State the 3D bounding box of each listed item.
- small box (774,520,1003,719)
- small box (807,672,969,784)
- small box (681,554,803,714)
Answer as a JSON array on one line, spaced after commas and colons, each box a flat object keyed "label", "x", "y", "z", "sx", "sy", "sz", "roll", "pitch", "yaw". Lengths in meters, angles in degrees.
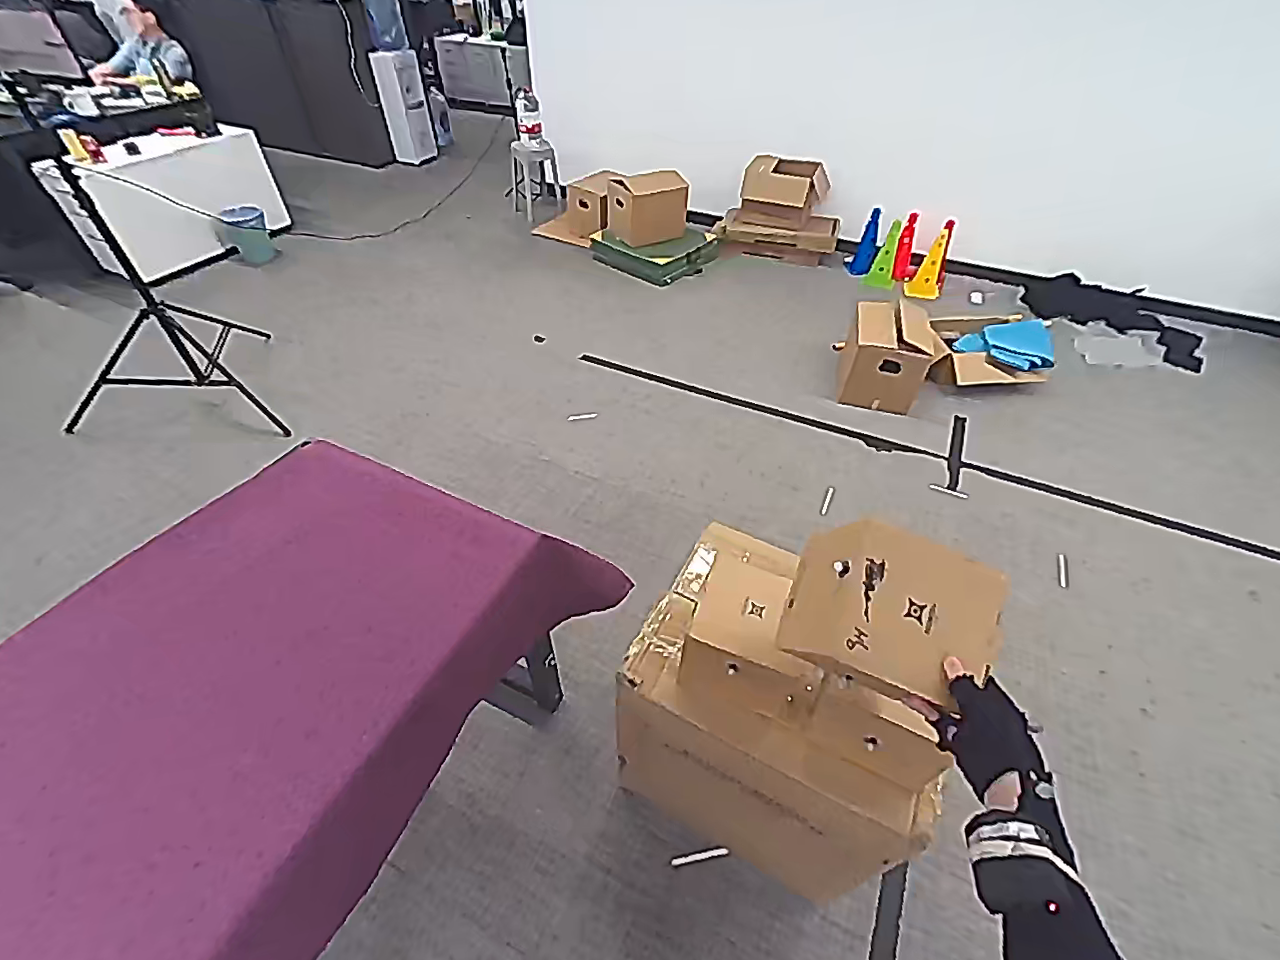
[{"label": "small box", "x": 0.295, "y": 0.168, "z": 0.669, "sx": 0.179, "sy": 0.176, "sz": 0.168, "roll": 24, "pitch": 74, "yaw": -1}, {"label": "small box", "x": 0.375, "y": 0.330, "z": 0.822, "sx": 0.179, "sy": 0.176, "sz": 0.168, "roll": 19, "pitch": 48, "yaw": 20}, {"label": "small box", "x": 0.175, "y": 0.258, "z": 0.894, "sx": 0.179, "sy": 0.176, "sz": 0.168, "roll": 18, "pitch": 49, "yaw": 14}]
